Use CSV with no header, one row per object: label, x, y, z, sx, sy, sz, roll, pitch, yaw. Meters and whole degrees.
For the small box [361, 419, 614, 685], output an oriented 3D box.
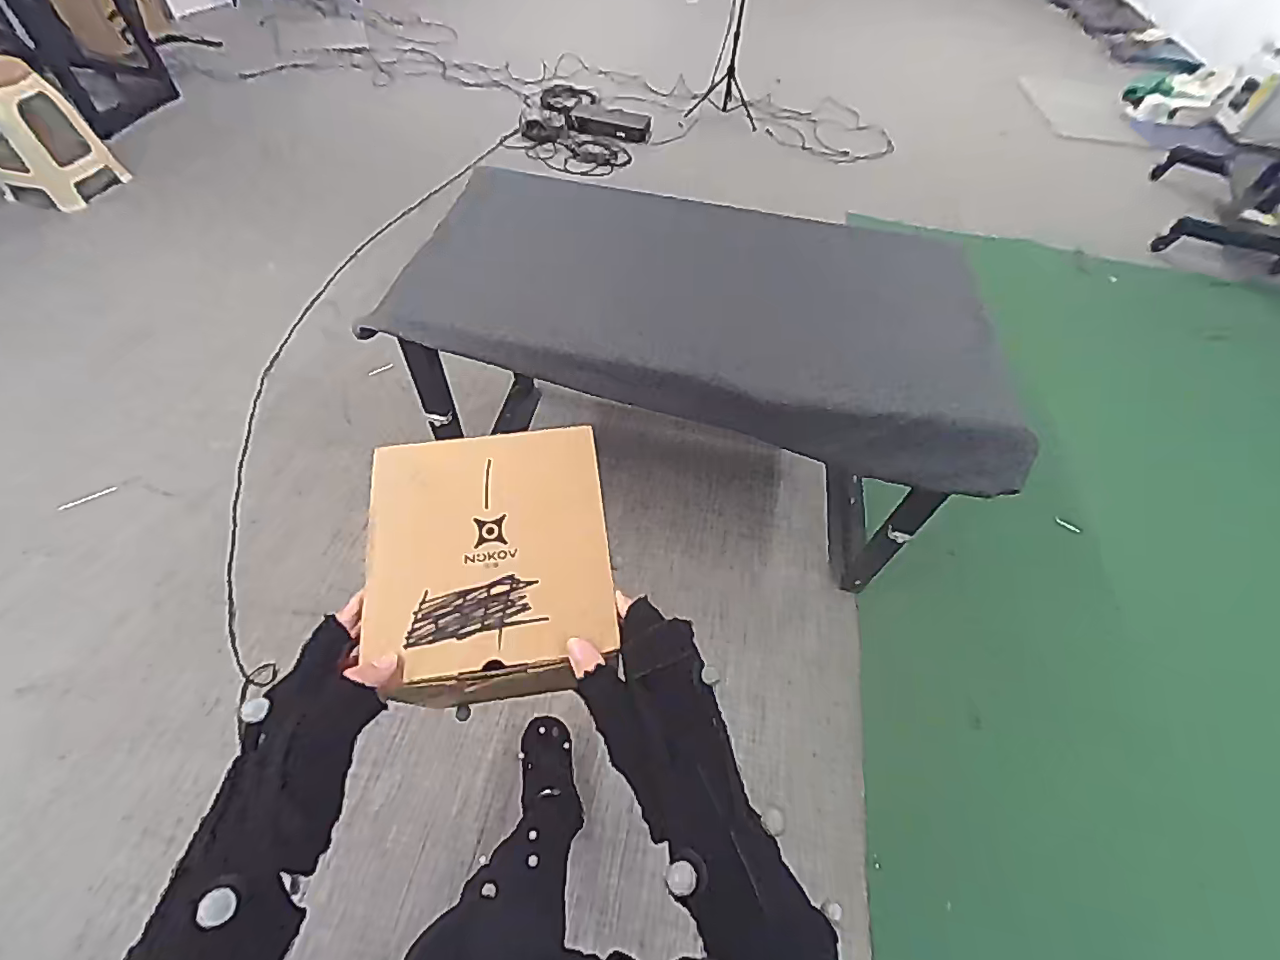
small box,-0.112,0.071,0.458,0.168,0.176,0.179,-6,64,-6
